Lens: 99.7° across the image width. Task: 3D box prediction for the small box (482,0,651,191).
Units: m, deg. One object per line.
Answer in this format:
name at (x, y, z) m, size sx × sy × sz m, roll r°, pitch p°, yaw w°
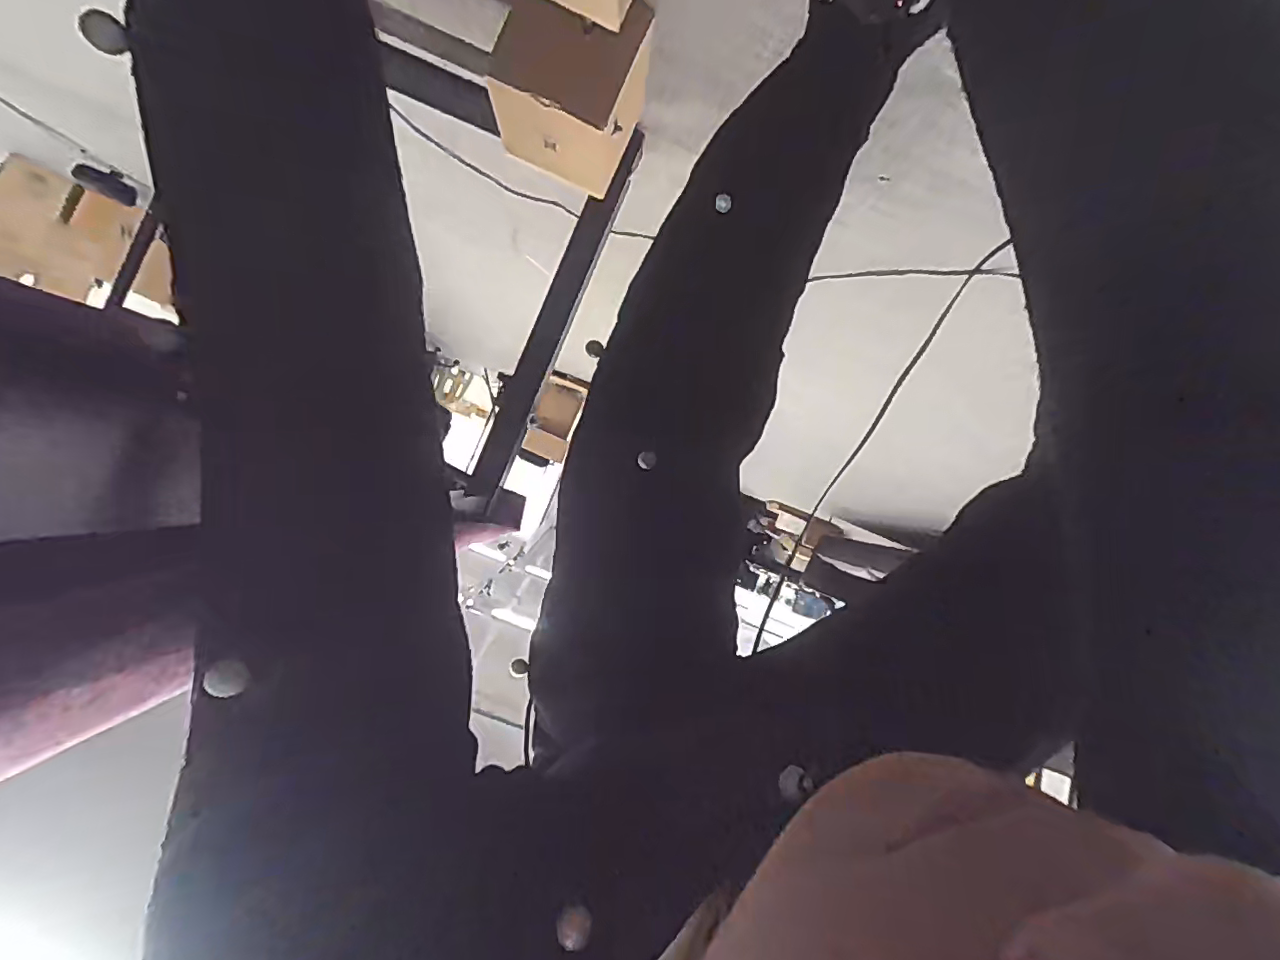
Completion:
small box at (-0.093, -0.553, 0.749) m, size 0.168 × 0.176 × 0.179 m, roll 23°, pitch 178°, yaw -3°
